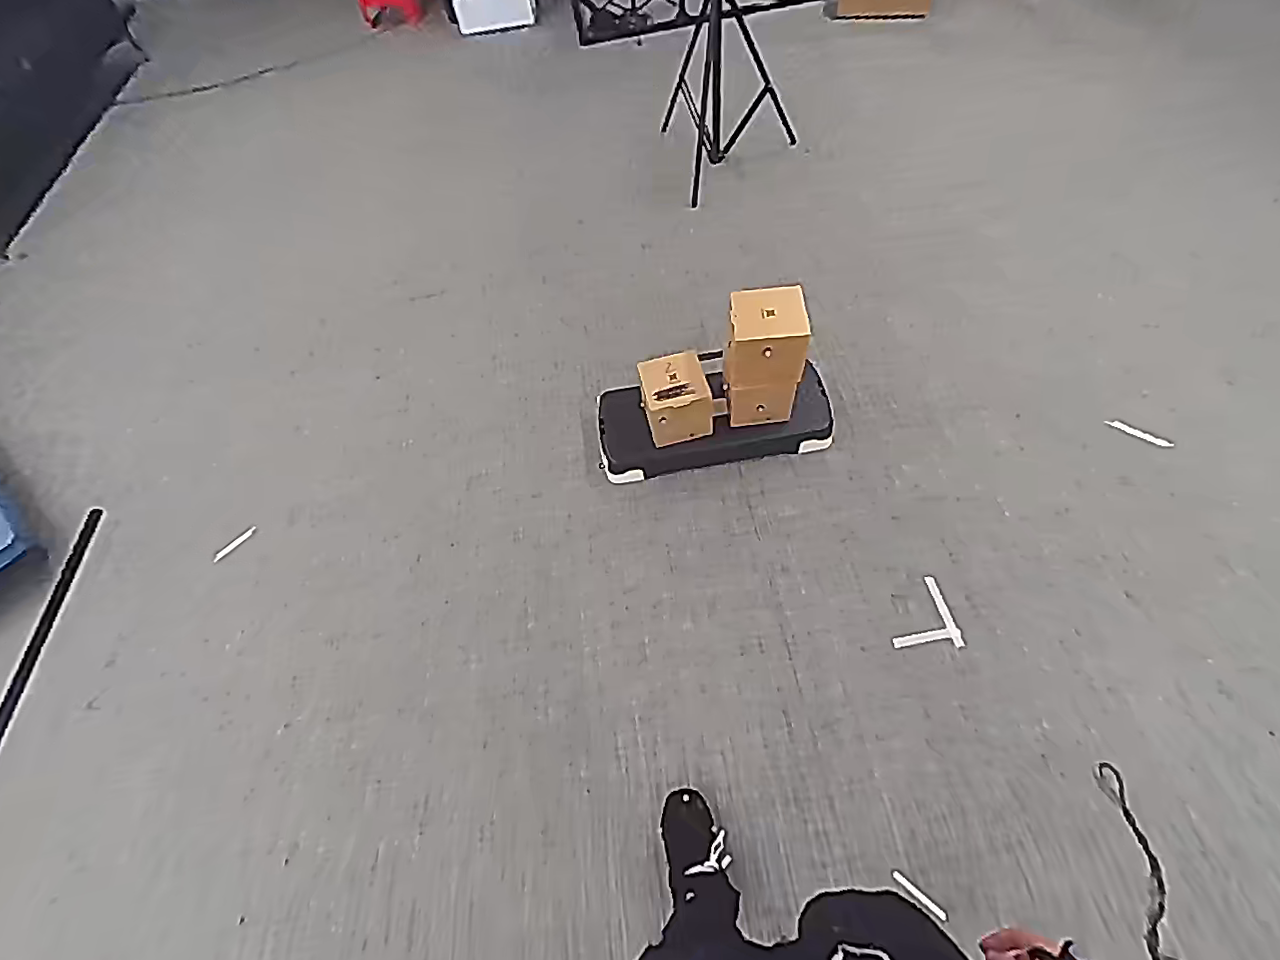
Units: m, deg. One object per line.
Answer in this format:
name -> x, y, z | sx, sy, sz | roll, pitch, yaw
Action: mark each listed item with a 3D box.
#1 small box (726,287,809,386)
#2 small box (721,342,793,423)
small box -> 0.309, -0.352, 1.348 | 0.179, 0.176, 0.168 | -4, 60, 6
small box -> 0.317, -0.269, 1.488 | 0.168, 0.176, 0.179 | -6, 59, 4
